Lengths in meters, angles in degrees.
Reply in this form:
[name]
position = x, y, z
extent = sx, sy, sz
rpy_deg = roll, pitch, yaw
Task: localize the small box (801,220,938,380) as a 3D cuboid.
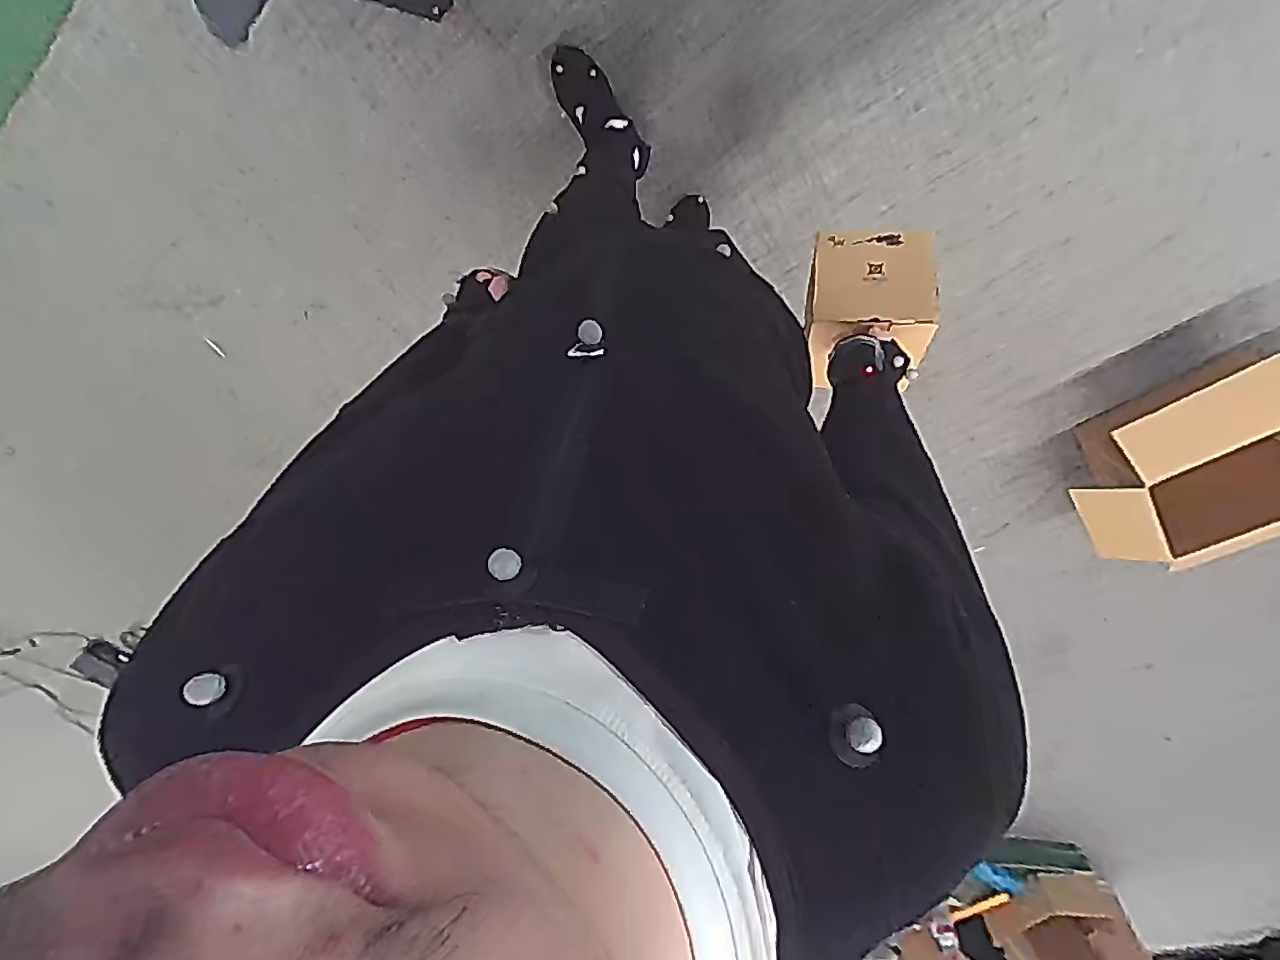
[small box]
position = 0.347, -0.272, 0.840
extent = 0.168, 0.179, 0.176
rpy_deg = 6, 159, 12
